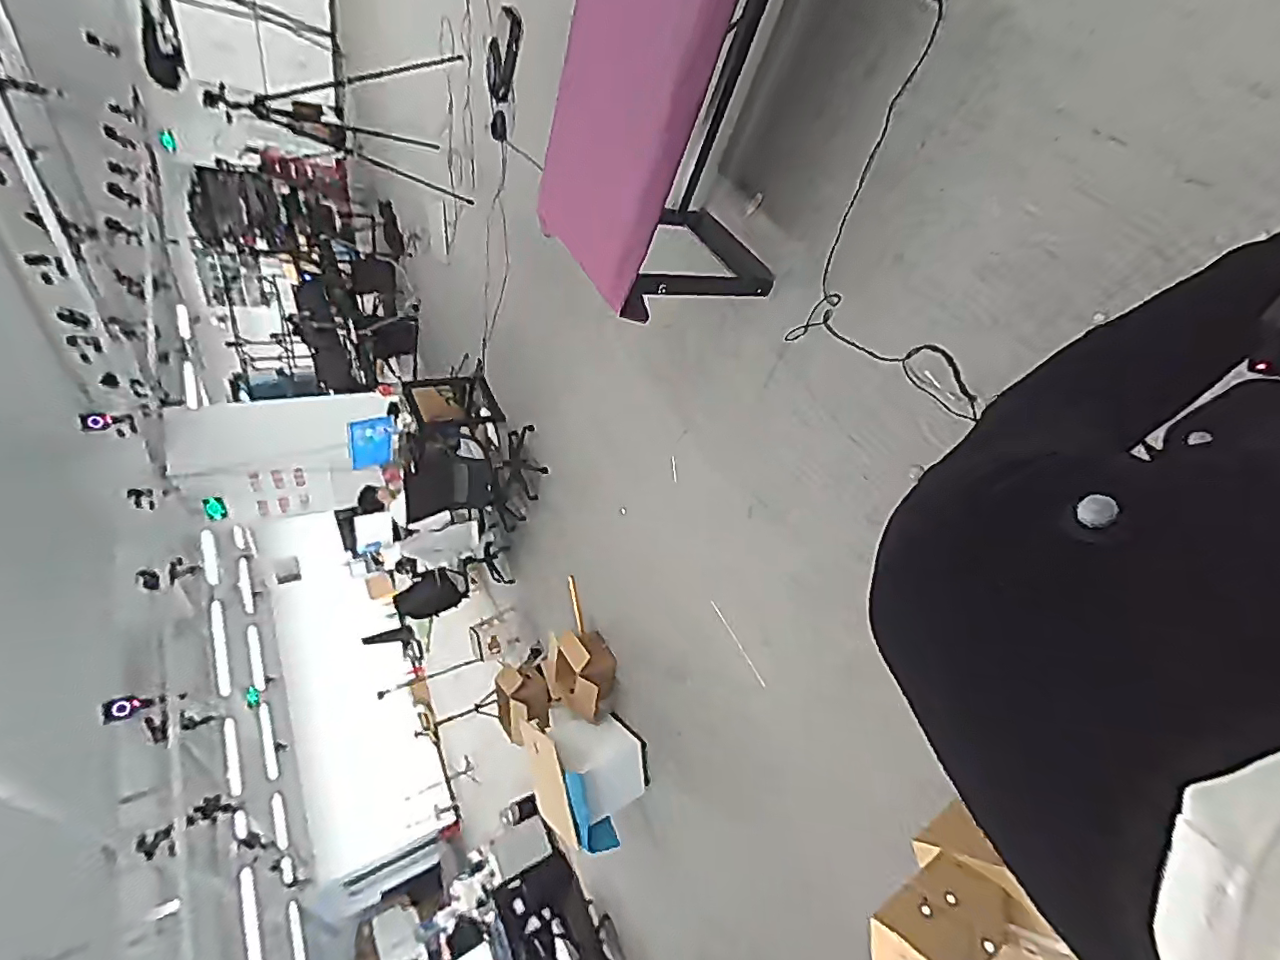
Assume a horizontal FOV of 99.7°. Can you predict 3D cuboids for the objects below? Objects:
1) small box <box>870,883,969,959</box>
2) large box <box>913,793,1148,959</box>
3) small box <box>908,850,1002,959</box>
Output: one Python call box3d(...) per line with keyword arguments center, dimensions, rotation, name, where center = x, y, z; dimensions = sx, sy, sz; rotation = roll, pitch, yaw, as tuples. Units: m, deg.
box3d(center=(0.703, 1.178, 1.356), dimensions=(0.168, 0.176, 0.179), rotation=(5, 102, 55), name="small box")
box3d(center=(1.083, 1.140, 1.526), dimensions=(0.408, 0.320, 0.320), rotation=(-29, 76, 55), name="large box")
box3d(center=(0.842, 1.150, 1.443), dimensions=(0.168, 0.176, 0.179), rotation=(6, 105, 56), name="small box")
